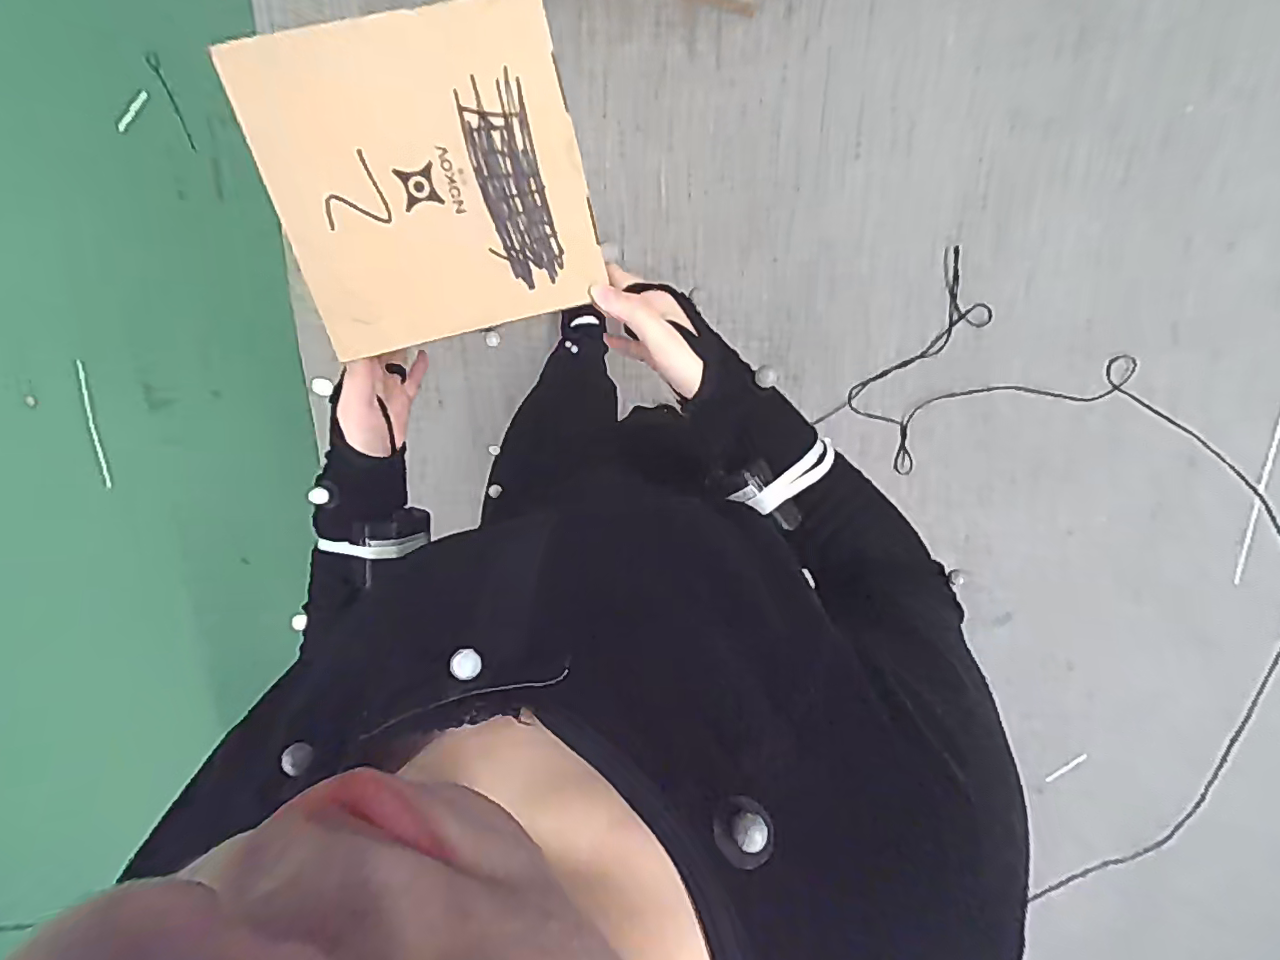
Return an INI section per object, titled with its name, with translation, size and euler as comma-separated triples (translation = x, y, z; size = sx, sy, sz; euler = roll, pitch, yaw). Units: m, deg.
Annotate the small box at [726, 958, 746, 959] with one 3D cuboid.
[small box]
translation = 0.208, 0.924, 0.875
size = 0.179, 0.176, 0.168
euler = -1, 105, 5
